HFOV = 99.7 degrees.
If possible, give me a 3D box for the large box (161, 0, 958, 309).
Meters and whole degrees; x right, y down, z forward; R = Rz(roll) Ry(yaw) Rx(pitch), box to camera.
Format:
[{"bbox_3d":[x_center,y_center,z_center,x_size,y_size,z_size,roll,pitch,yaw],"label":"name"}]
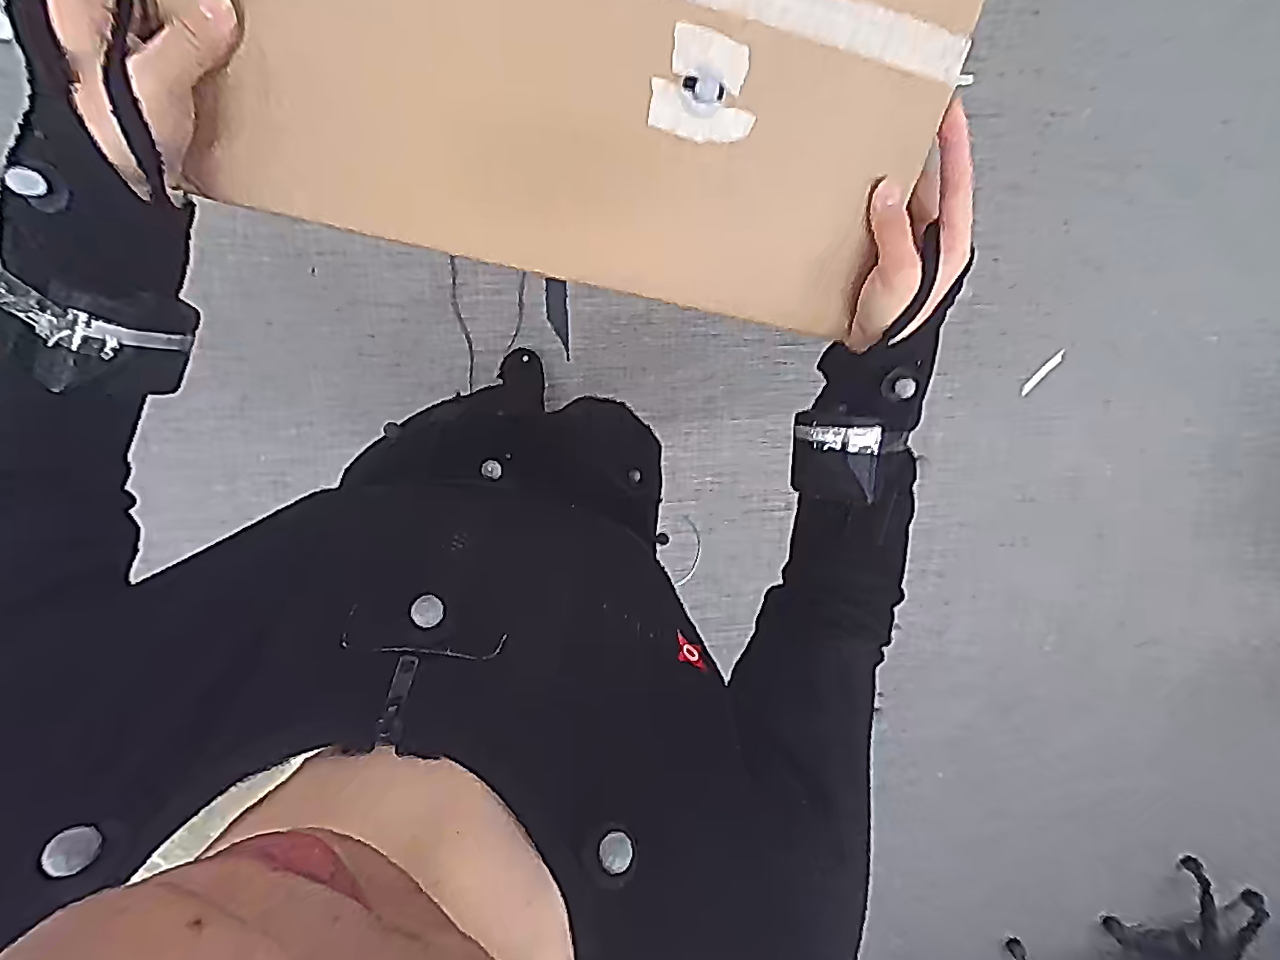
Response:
[{"bbox_3d":[-0.041,-0.344,0.393,0.408,0.320,0.320,8,119,-11],"label":"large box"}]
